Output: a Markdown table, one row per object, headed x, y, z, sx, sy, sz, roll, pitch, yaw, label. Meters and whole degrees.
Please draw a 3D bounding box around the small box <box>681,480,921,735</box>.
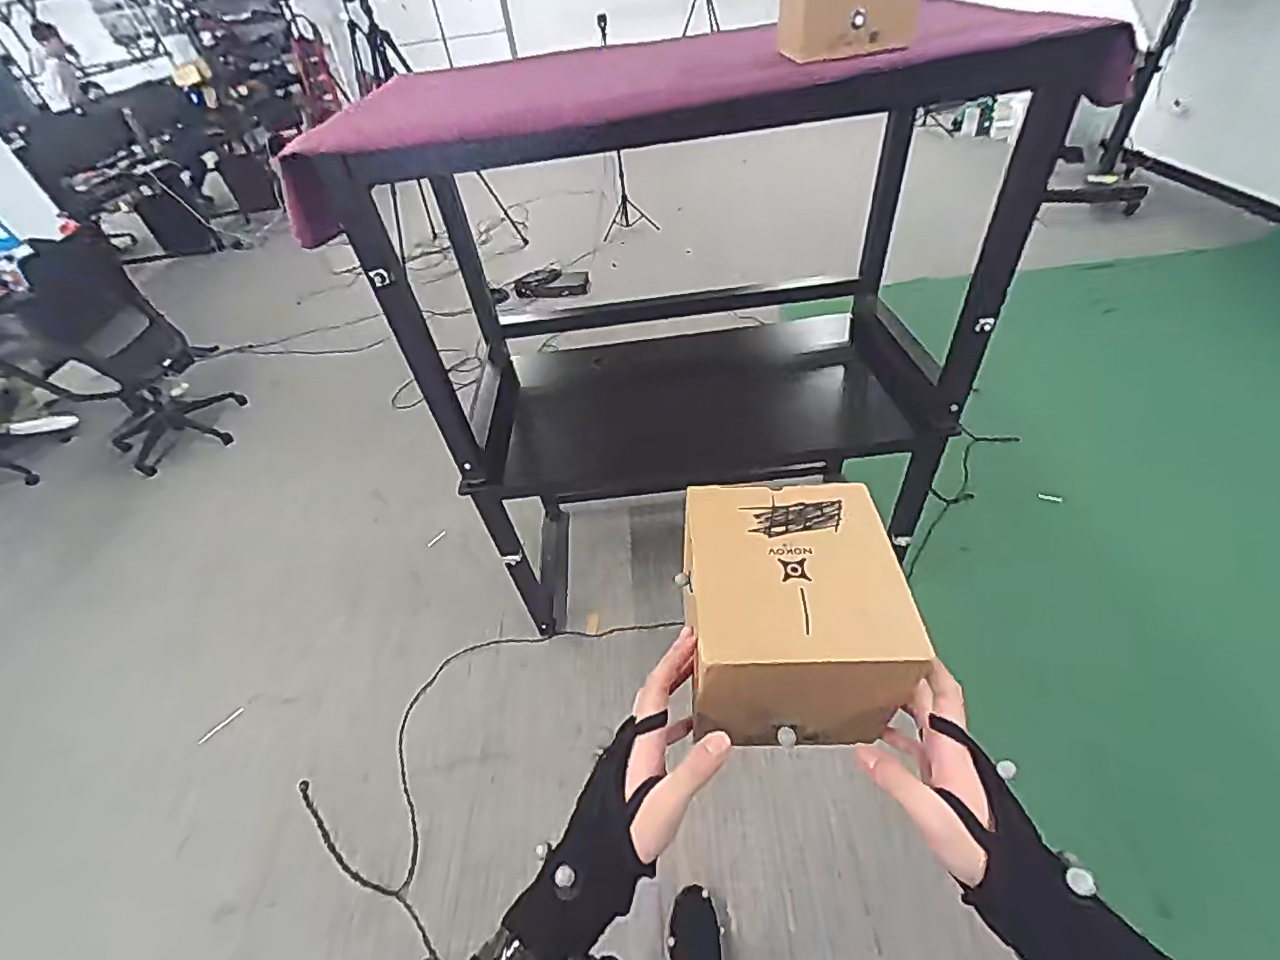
| x | y | z | sx | sy | sz | roll | pitch | yaw | label |
| --- | --- | --- | --- | --- | --- | --- | --- | --- | --- |
| 0.125 | 0.119 | 0.508 | 0.168 | 0.176 | 0.179 | -2 | 46 | 1 | small box |
